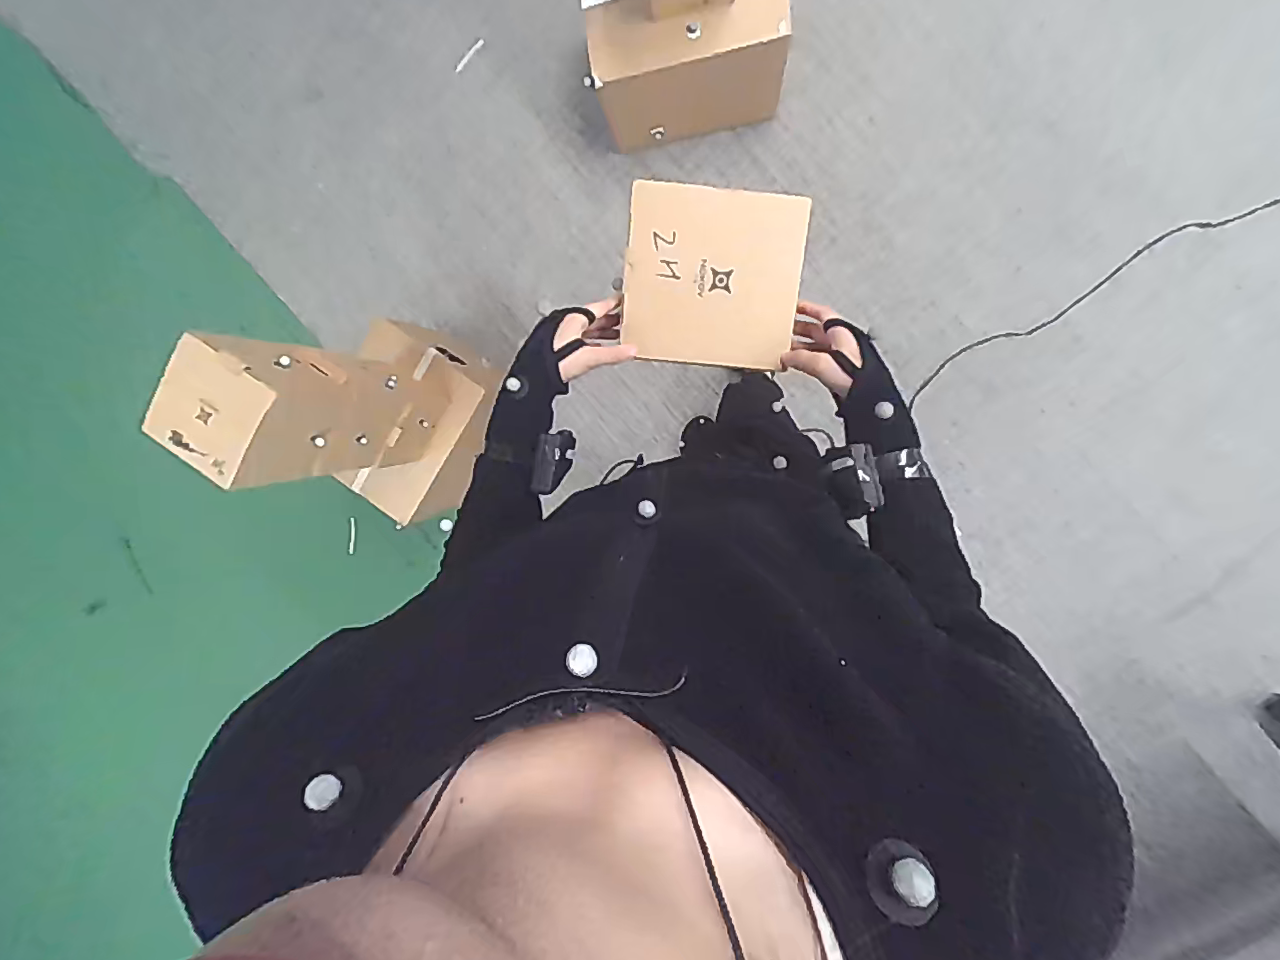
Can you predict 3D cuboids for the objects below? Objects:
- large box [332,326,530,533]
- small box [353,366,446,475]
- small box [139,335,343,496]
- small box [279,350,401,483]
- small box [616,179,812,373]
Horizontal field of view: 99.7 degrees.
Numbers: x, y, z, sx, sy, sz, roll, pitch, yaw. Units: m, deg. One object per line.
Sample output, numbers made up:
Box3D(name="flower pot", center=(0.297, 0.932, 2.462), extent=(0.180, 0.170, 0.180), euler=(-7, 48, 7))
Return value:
Box3D(name="large box", center=(-0.557, -0.136, 1.427), extent=(0.320, 0.320, 0.408), euler=(35, 102, 4))
Box3D(name="small box", center=(-0.560, -0.133, 1.179), extent=(0.179, 0.176, 0.168), euler=(35, 100, 3))
Box3D(name="small box", center=(-0.613, -0.100, 0.857), extent=(0.168, 0.176, 0.179), euler=(35, 99, 4))
Box3D(name="small box", center=(-0.585, -0.119, 1.018), extent=(0.168, 0.176, 0.179), euler=(34, 100, 3))
Box3D(name="small box", center=(0.069, -0.211, 0.604), extent=(0.179, 0.176, 0.168), euler=(5, 100, -1))
